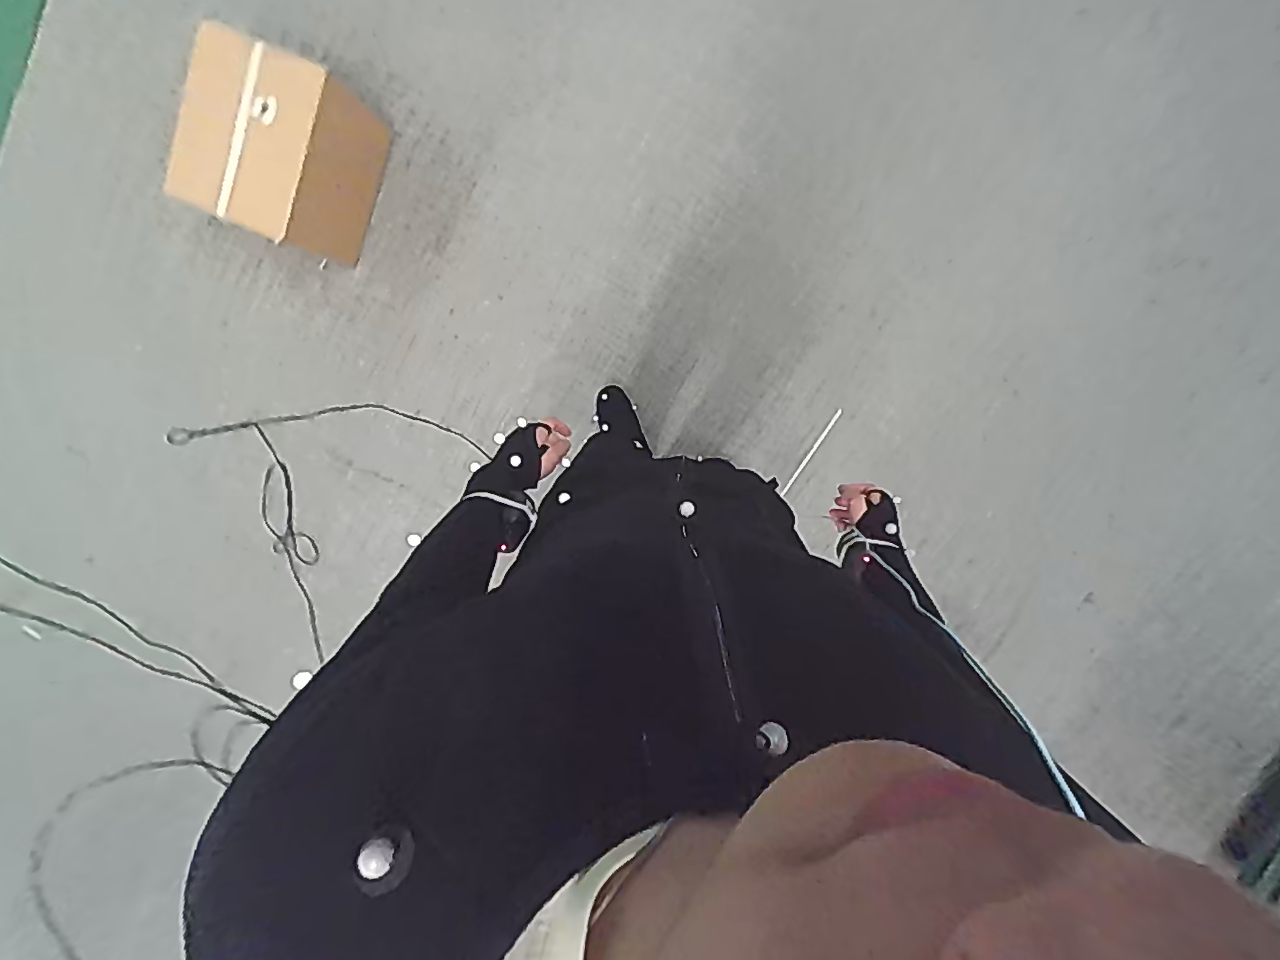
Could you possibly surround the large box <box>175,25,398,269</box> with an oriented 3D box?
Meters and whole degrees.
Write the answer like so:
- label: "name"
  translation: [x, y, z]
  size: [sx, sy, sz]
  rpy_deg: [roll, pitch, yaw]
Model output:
- label: "large box"
  translation: [-0.905, -0.833, 1.421]
  size: [0.320, 0.320, 0.408]
  rpy_deg: [23, 99, 0]
